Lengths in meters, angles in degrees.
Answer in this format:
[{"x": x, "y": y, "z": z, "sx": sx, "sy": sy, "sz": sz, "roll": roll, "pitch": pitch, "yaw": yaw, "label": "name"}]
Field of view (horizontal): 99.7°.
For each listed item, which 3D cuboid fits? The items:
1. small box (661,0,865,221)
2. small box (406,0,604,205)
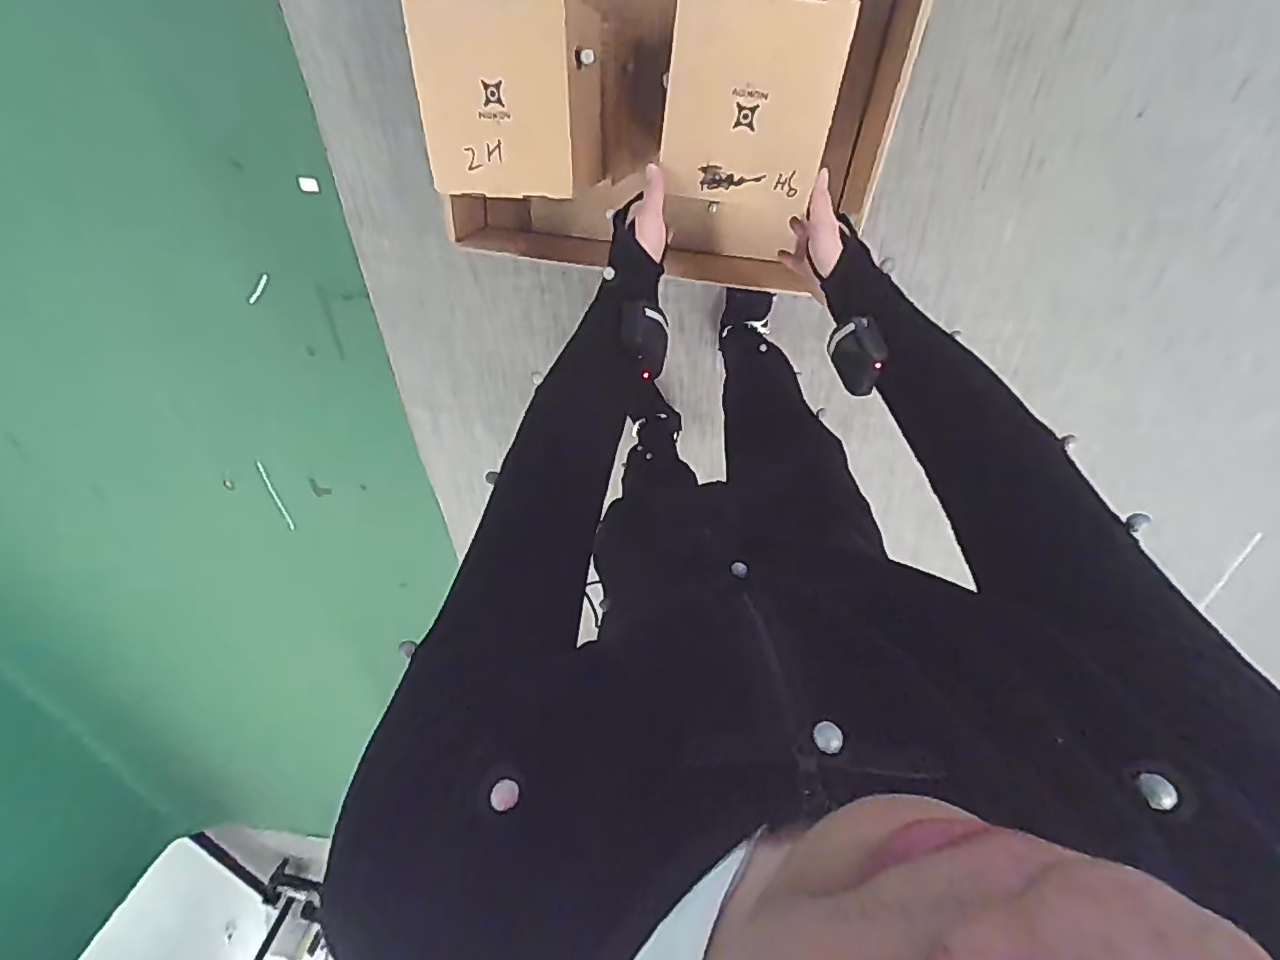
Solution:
[{"x": 0.122, "y": -0.403, "z": 0.599, "sx": 0.168, "sy": 0.176, "sz": 0.179, "roll": 10, "pitch": 123, "yaw": 2, "label": "small box"}, {"x": -0.138, "y": -0.433, "z": 0.625, "sx": 0.168, "sy": 0.176, "sz": 0.179, "roll": 6, "pitch": 127, "yaw": 5, "label": "small box"}]
